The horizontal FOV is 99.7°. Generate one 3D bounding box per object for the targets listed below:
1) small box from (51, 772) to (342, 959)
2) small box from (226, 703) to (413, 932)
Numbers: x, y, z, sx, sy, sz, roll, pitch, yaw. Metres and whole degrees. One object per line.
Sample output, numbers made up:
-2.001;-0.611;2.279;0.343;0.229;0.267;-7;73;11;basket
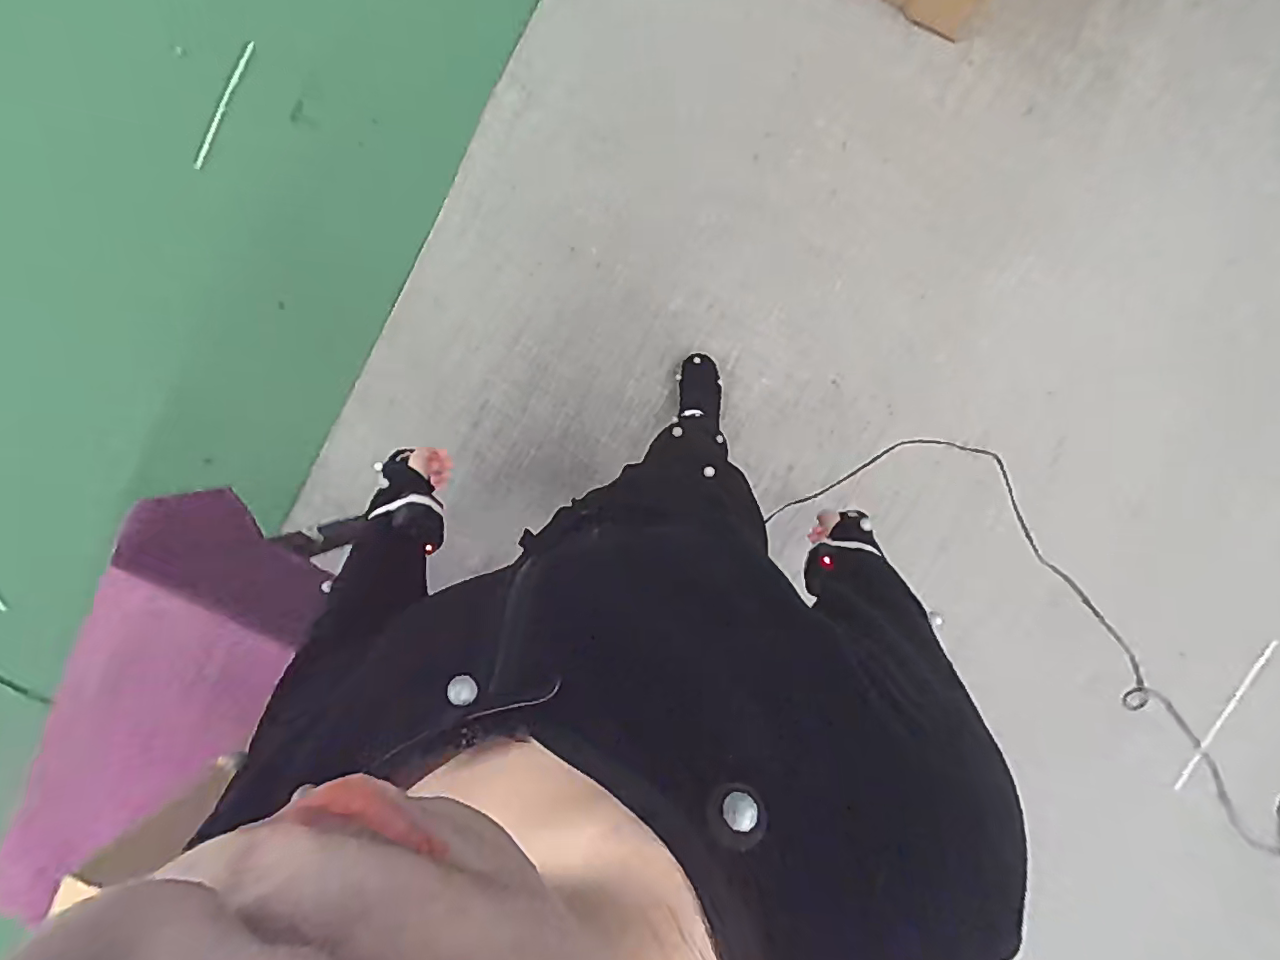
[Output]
-0.455;0.459;0.570;0.168;0.176;0.179;24;95;0;small box
-0.444;0.438;0.733;0.179;0.176;0.168;27;95;0;small box
